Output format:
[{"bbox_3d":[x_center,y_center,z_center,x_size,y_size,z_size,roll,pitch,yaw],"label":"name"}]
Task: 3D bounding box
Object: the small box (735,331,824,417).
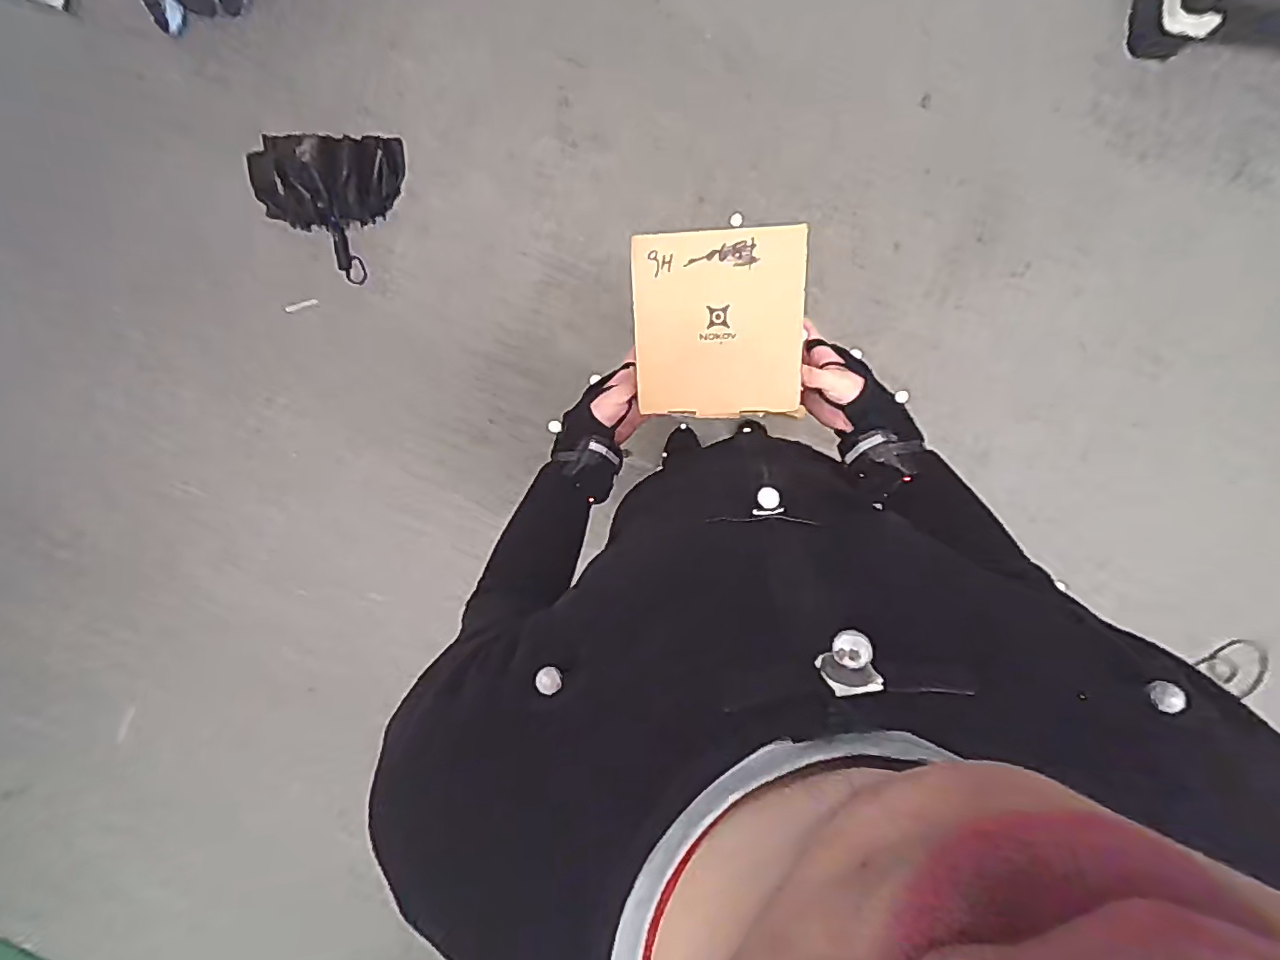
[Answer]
[{"bbox_3d":[0.360,-0.274,1.436,0.168,0.176,0.179,19,97,2],"label":"small box"}]
